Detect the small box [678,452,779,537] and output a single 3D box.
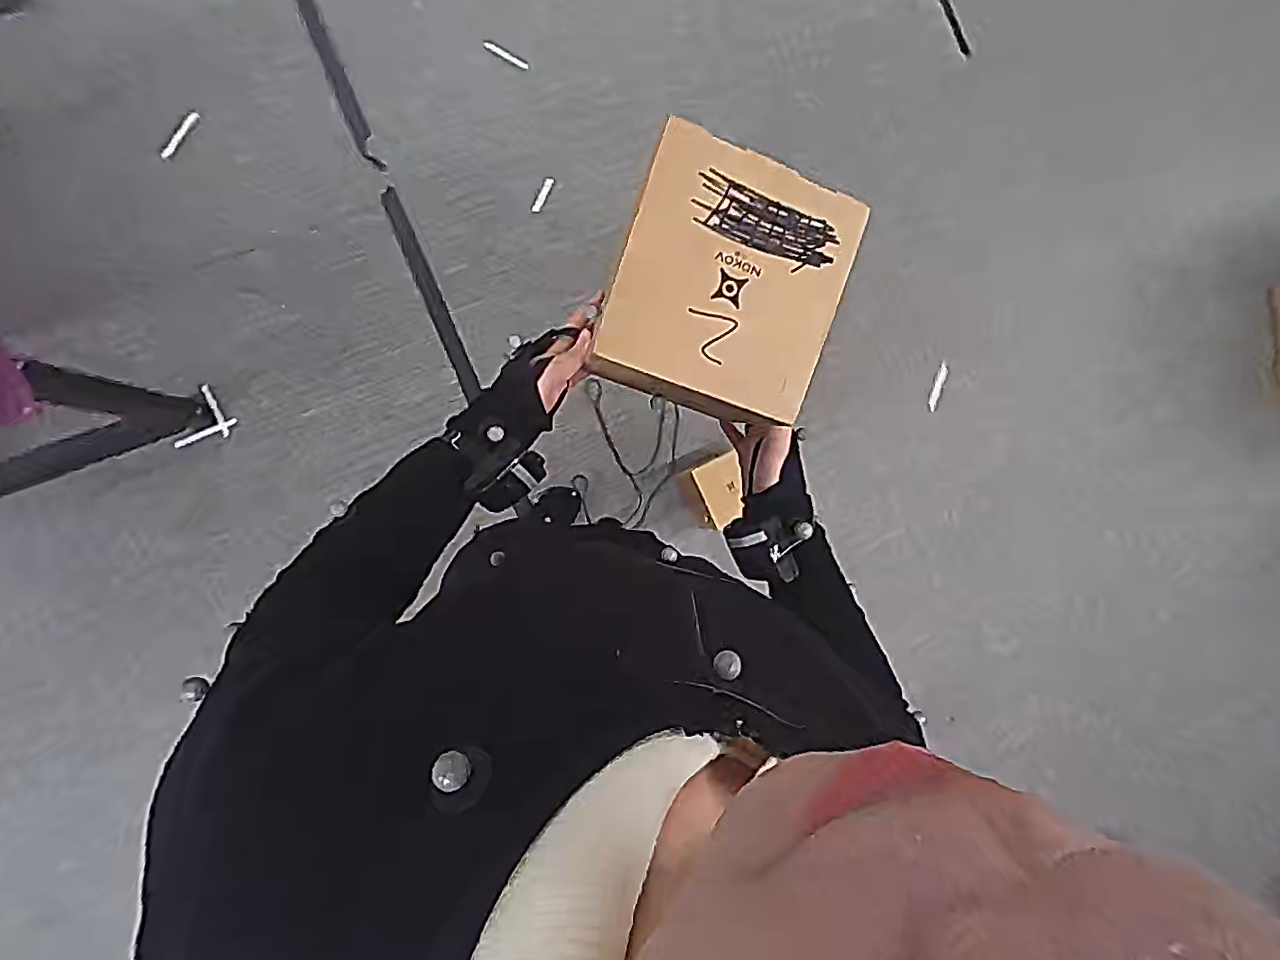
[{"bbox_3d":[0.239,0.038,1.446,0.179,0.176,0.168,-33,114,-26],"label":"small box"}]
